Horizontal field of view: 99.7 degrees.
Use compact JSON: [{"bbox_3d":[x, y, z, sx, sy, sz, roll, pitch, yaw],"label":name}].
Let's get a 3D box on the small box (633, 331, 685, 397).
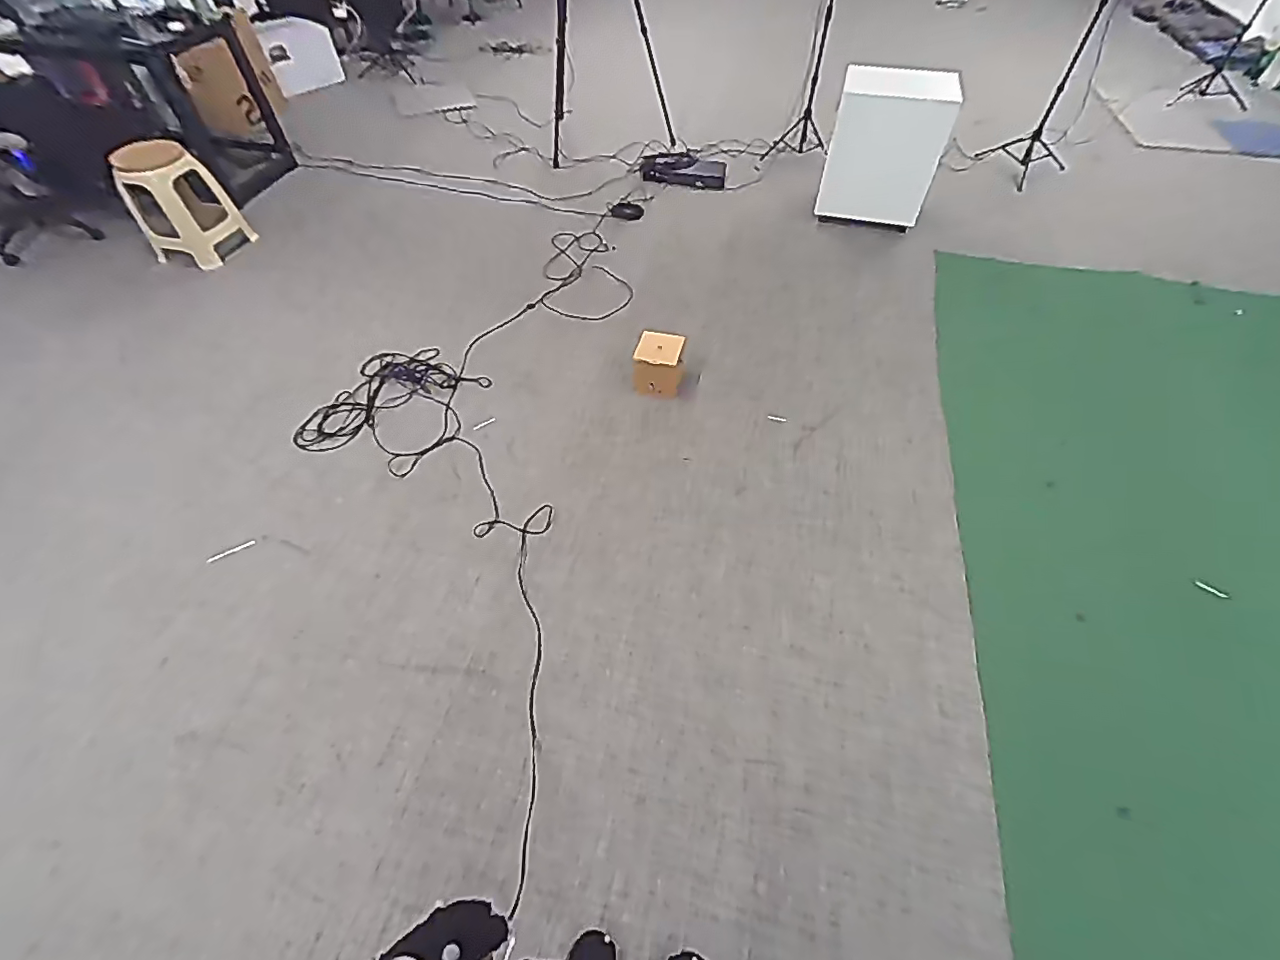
[{"bbox_3d":[0.073,-0.451,2.105,0.168,0.176,0.179,11,53,10],"label":"small box"}]
